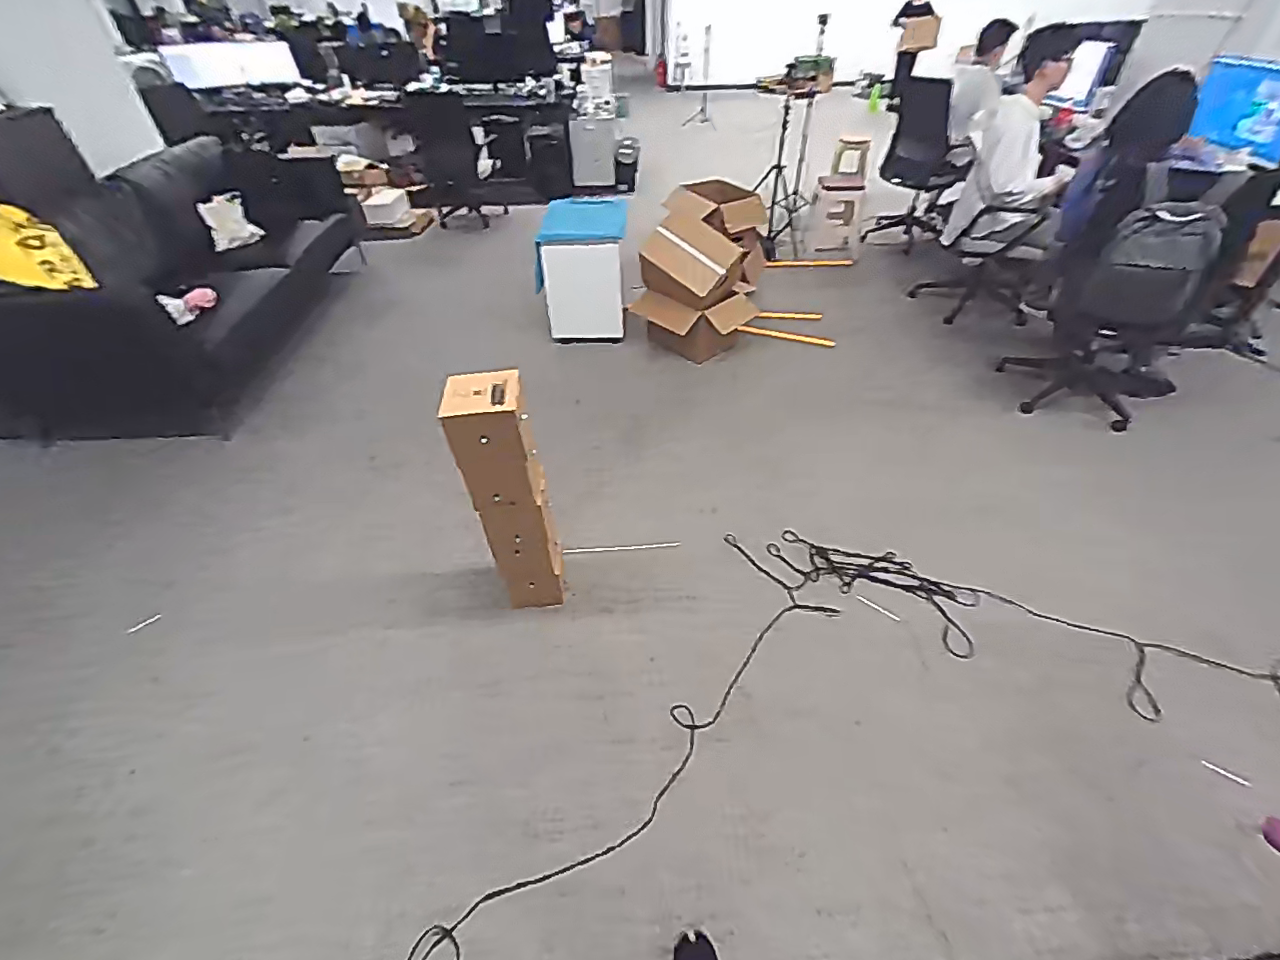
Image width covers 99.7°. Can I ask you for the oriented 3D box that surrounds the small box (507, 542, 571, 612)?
[{"bbox_3d":[-0.331,0.326,1.799,0.179,0.176,0.168,-3,42,-2],"label":"small box"}]

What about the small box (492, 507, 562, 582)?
[{"bbox_3d":[-0.347,0.205,1.689,0.179,0.176,0.168,-4,43,-1],"label":"small box"}]

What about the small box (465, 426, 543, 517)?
[{"bbox_3d":[-0.358,-0.023,1.456,0.168,0.176,0.179,-6,44,-2],"label":"small box"}]

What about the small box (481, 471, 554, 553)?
[{"bbox_3d":[-0.347,0.095,1.569,0.179,0.176,0.168,-5,43,-3],"label":"small box"}]
